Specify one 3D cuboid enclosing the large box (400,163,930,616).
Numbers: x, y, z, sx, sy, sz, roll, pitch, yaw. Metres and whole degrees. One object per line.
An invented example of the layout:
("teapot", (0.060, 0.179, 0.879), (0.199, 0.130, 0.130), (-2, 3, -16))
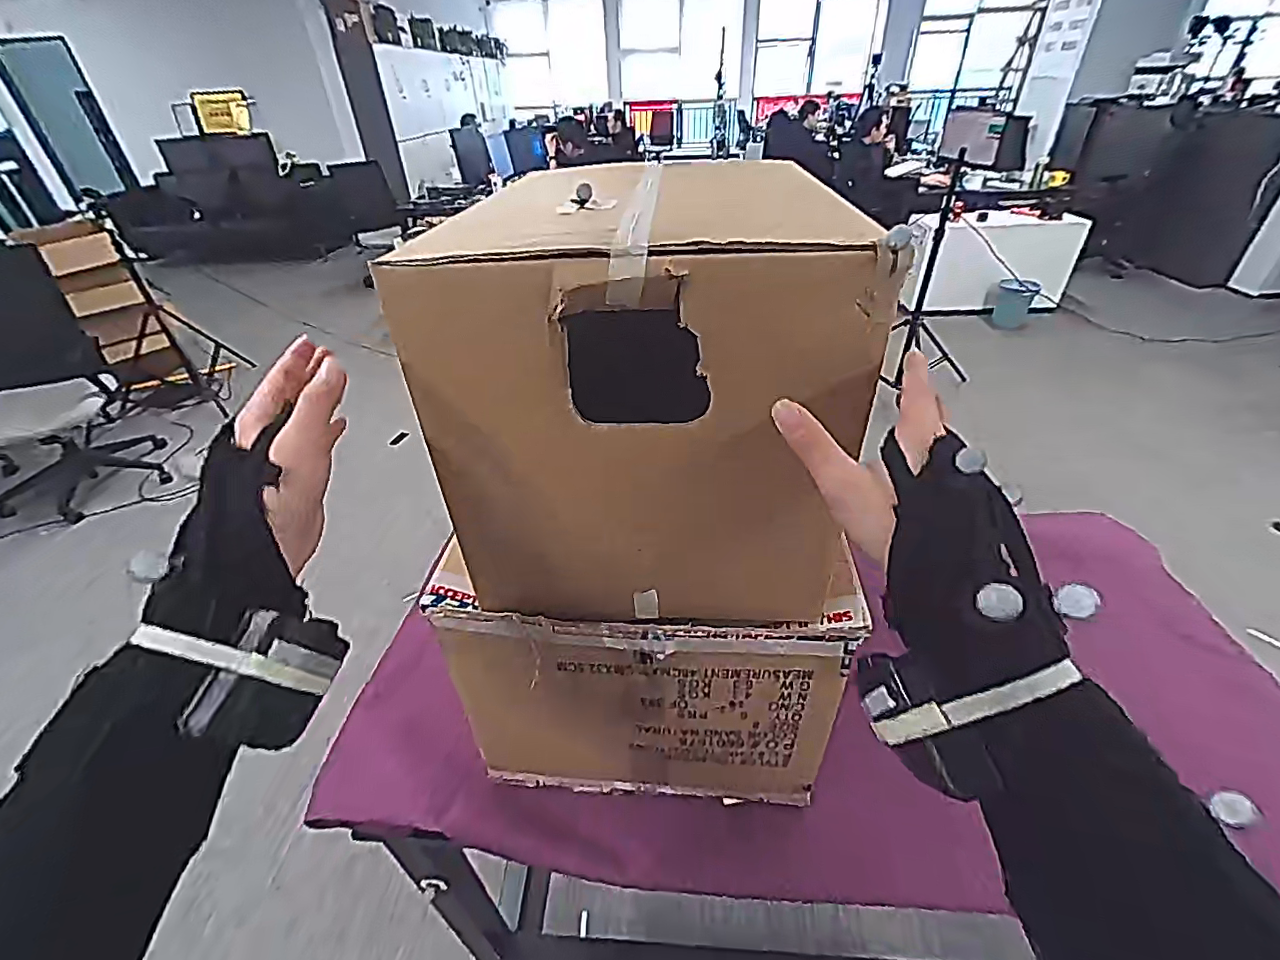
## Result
("large box", (0.023, -0.118, 0.552), (0.320, 0.320, 0.408), (-1, 37, 5))
